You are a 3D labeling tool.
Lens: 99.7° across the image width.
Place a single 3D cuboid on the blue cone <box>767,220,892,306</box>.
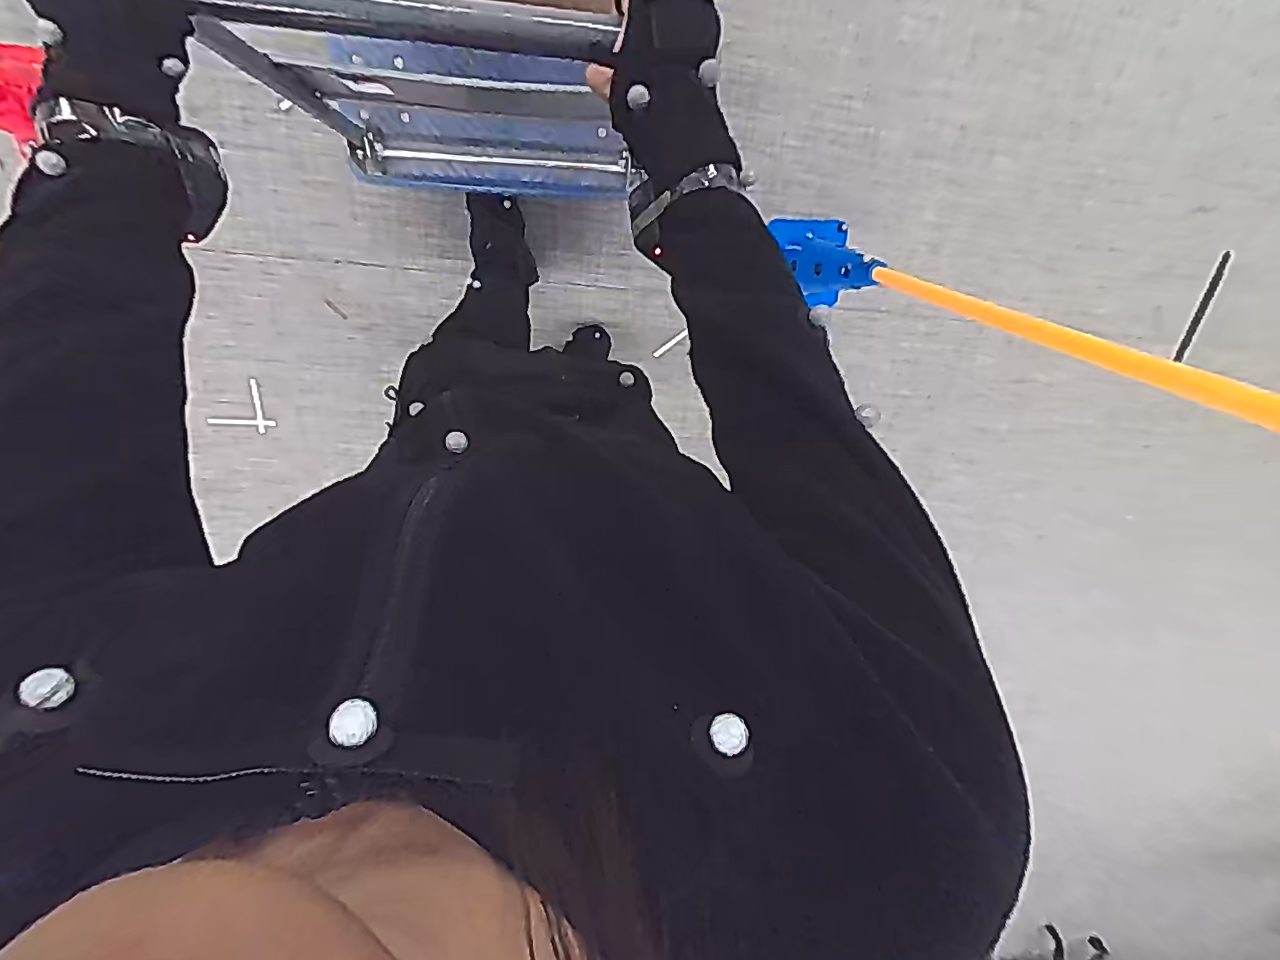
[{"bbox_3d":[0.421,-0.458,1.157,0.193,0.380,0.192,-1,113,-7],"label":"blue cone"}]
